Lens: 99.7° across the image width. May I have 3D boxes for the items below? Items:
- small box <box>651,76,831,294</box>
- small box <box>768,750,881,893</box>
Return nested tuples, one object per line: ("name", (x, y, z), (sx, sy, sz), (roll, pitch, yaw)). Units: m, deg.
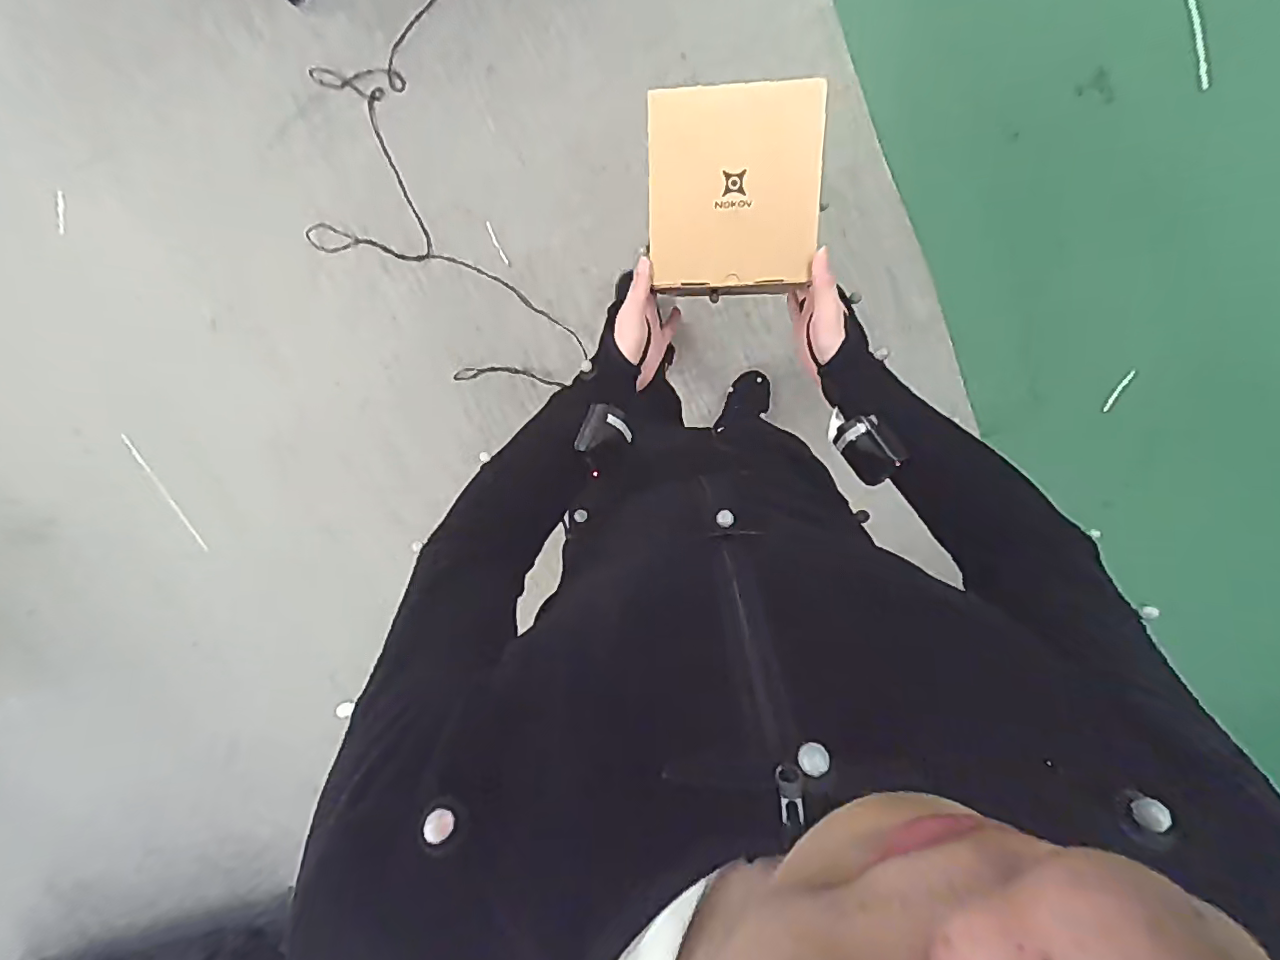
("small box", (0.097, -0.300, 0.587), (0.168, 0.176, 0.179), (0, 107, 5))
("small box", (0.375, 0.701, 1.120), (0.168, 0.176, 0.179), (-19, 104, 11))
